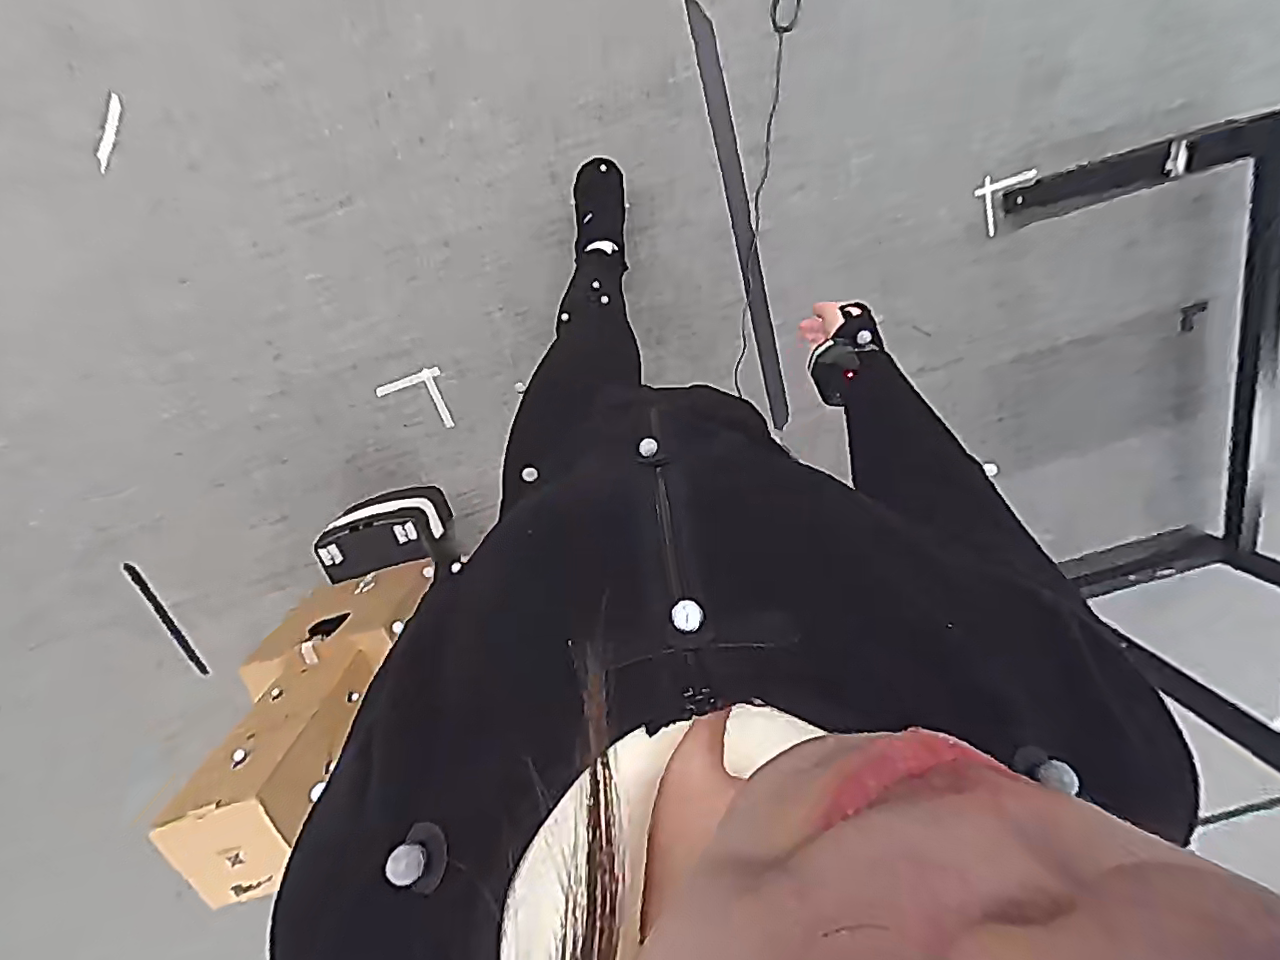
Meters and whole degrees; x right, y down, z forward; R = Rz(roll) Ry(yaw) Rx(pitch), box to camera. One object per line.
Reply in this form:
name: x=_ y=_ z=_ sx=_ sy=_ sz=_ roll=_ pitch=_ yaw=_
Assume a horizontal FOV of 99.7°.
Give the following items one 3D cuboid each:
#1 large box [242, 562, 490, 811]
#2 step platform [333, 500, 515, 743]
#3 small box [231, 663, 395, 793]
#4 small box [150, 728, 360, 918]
large box: x=-0.587 y=0.463 z=1.249 sx=0.320 sy=0.320 sz=0.408 roll=-16 pitch=109 yaw=3
step platform: x=-0.567 y=0.410 z=1.483 sx=0.286 sy=0.204 sz=0.684 roll=-11 pitch=109 yaw=0
small box: x=-0.583 y=0.461 z=0.992 sx=0.168 sy=0.176 sz=0.179 roll=-15 pitch=108 yaw=2
small box: x=-0.575 y=0.514 z=0.837 sx=0.168 sy=0.176 sz=0.179 roll=-16 pitch=107 yaw=2
